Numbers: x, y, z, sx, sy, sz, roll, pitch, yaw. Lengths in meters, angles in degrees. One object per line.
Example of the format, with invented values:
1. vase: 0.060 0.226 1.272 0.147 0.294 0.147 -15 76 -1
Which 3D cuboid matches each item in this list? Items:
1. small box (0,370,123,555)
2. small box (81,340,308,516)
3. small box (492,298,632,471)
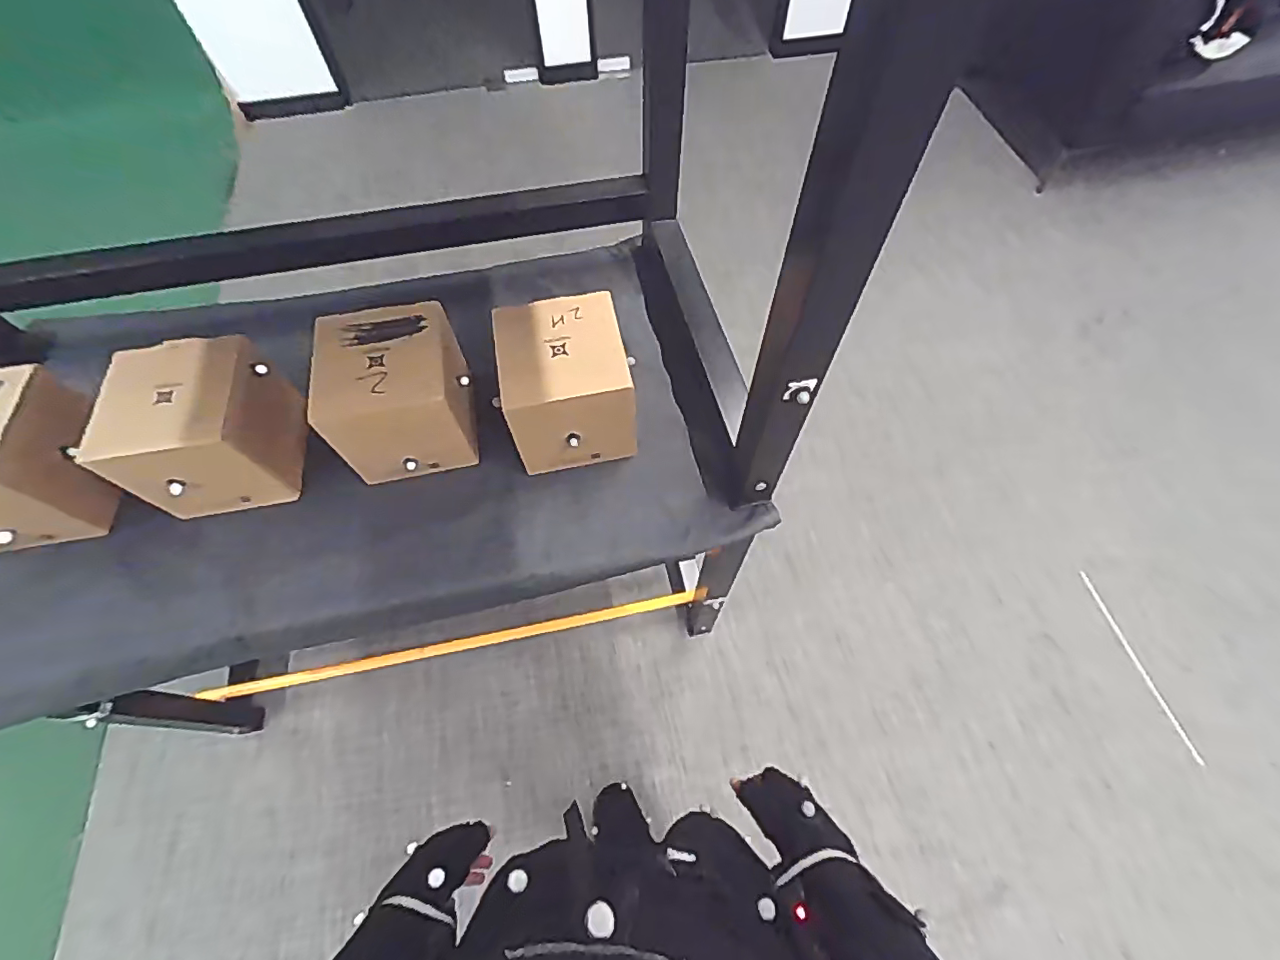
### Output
1. small box: -0.839 -0.018 0.723 0.168 0.176 0.179 -10 62 -5
2. small box: -0.591 -0.062 0.748 0.168 0.176 0.179 -10 61 -5
3. small box: -0.106 -0.127 0.777 0.168 0.176 0.179 -10 61 -5
